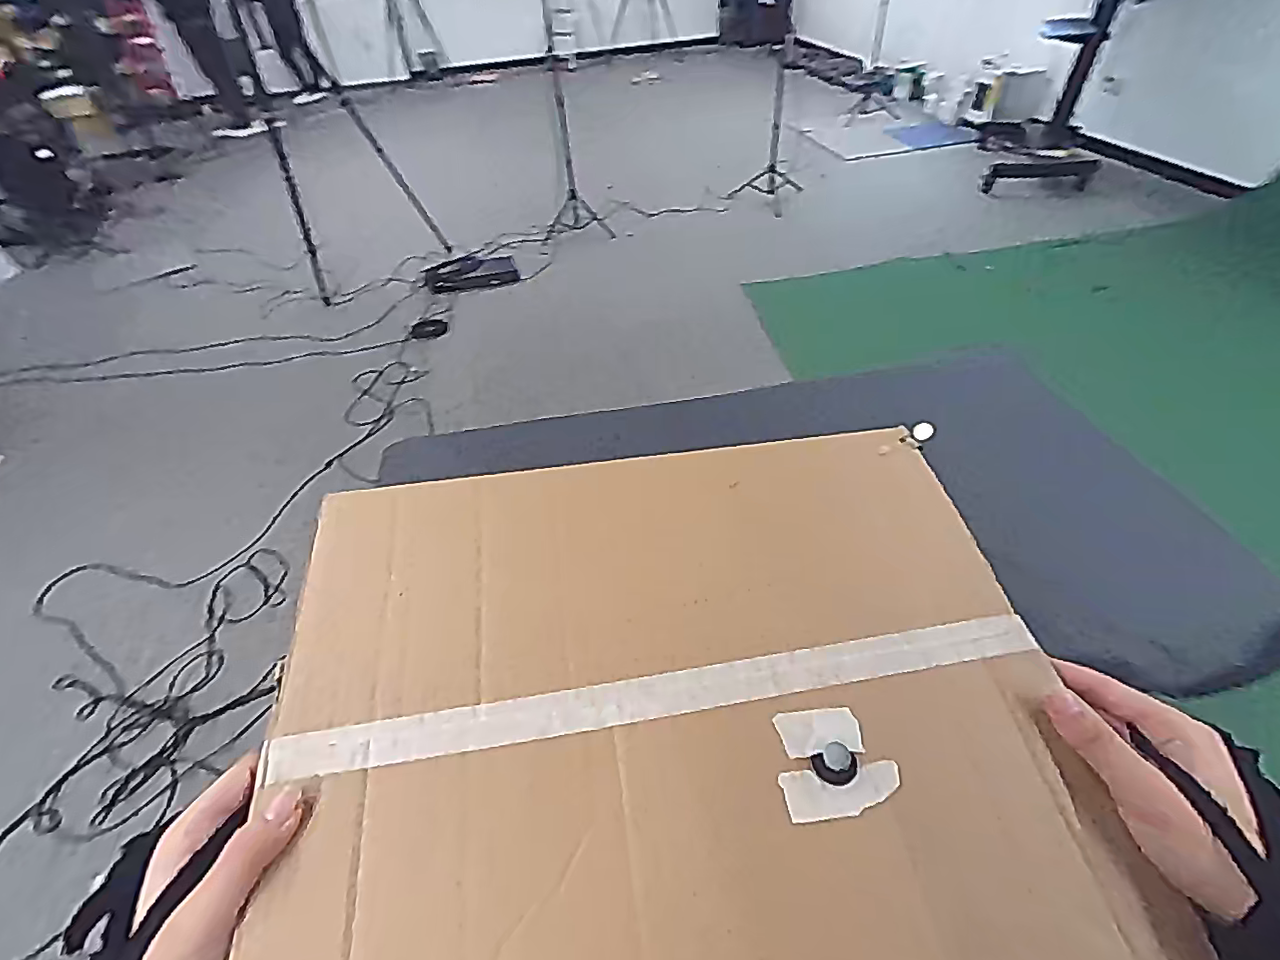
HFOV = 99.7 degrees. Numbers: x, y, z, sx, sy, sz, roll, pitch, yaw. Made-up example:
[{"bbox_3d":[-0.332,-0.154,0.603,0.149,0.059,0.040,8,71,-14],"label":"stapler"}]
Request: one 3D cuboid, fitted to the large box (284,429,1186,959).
[{"bbox_3d":[0.023,0.194,0.423,0.408,0.320,0.320,-6,57,-7],"label":"large box"}]
